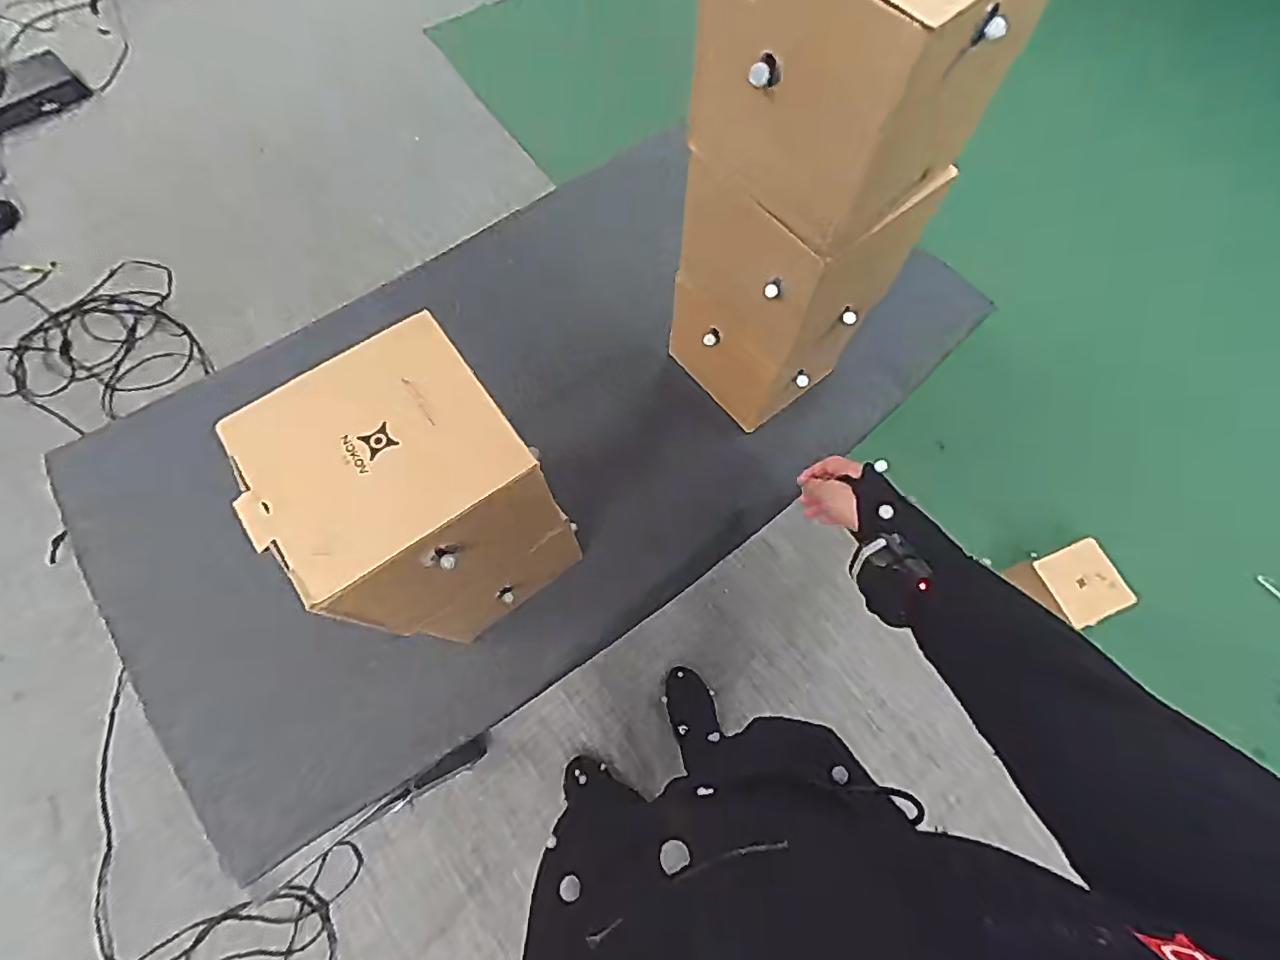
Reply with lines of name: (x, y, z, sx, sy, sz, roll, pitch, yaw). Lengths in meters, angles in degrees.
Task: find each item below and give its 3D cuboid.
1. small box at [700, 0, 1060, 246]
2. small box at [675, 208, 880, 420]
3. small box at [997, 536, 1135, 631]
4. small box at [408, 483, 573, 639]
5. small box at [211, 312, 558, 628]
small box: (0.160, -0.313, 0.393, 0.168, 0.176, 0.179, -40, 74, -13)
small box: (0.162, -0.200, 0.702, 0.168, 0.176, 0.179, -36, 73, -12)
small box: (1.019, 0.258, 1.318, 0.179, 0.176, 0.168, -20, 73, -8)
small box: (-0.188, 0.057, 0.606, 0.179, 0.176, 0.168, -36, 74, -11)
small box: (-0.189, 0.005, 0.452, 0.179, 0.176, 0.168, -34, 74, -13)
